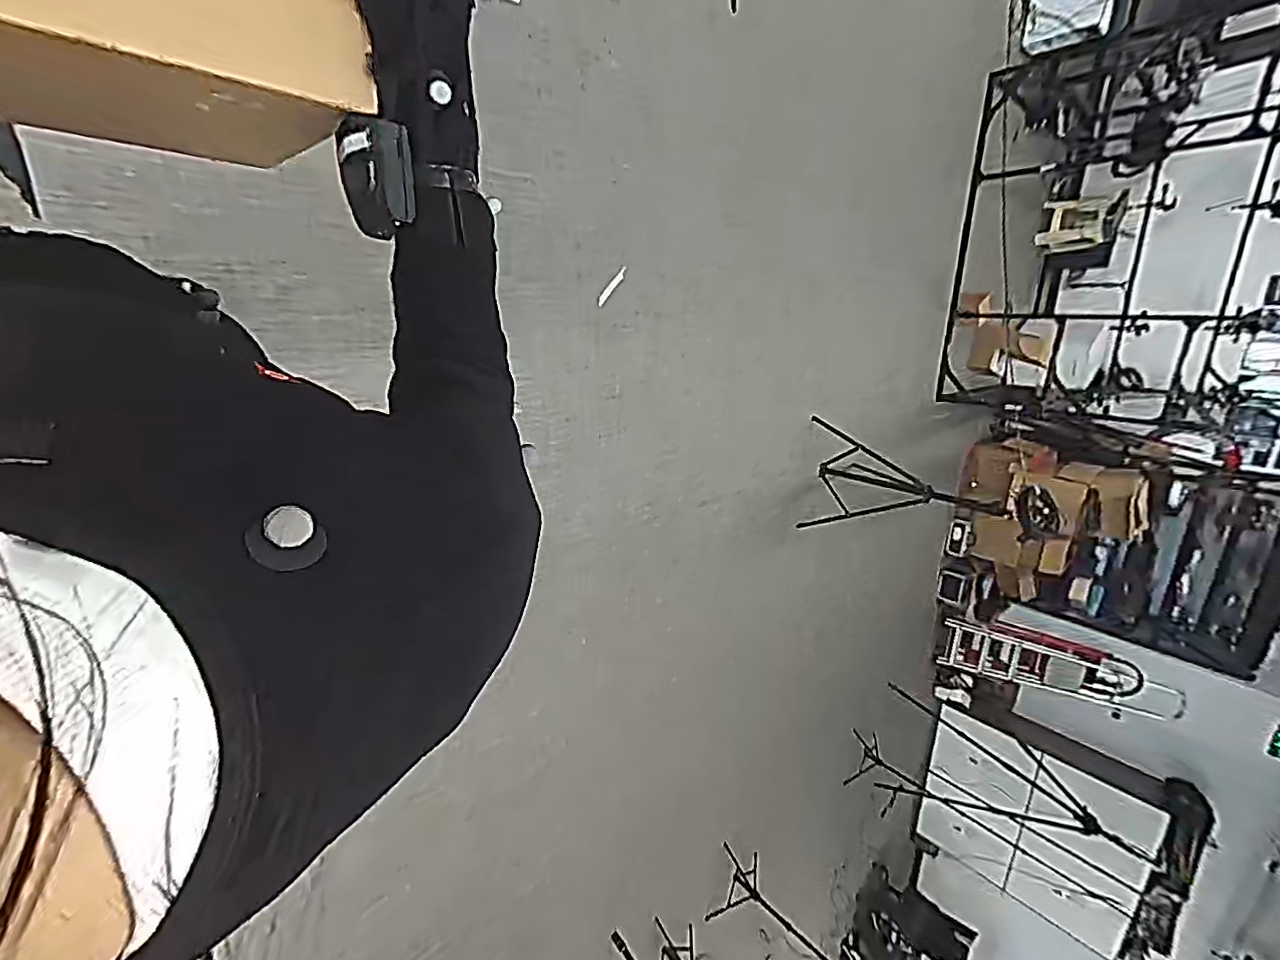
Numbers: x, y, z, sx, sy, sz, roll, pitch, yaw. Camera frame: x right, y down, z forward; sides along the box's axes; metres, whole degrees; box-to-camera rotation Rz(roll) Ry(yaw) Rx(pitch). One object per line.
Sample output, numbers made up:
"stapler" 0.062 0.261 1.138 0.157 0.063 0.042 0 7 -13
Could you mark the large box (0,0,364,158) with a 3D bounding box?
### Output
"large box" -0.419 -0.390 0.272 0.408 0.320 0.320 -15 117 -42
